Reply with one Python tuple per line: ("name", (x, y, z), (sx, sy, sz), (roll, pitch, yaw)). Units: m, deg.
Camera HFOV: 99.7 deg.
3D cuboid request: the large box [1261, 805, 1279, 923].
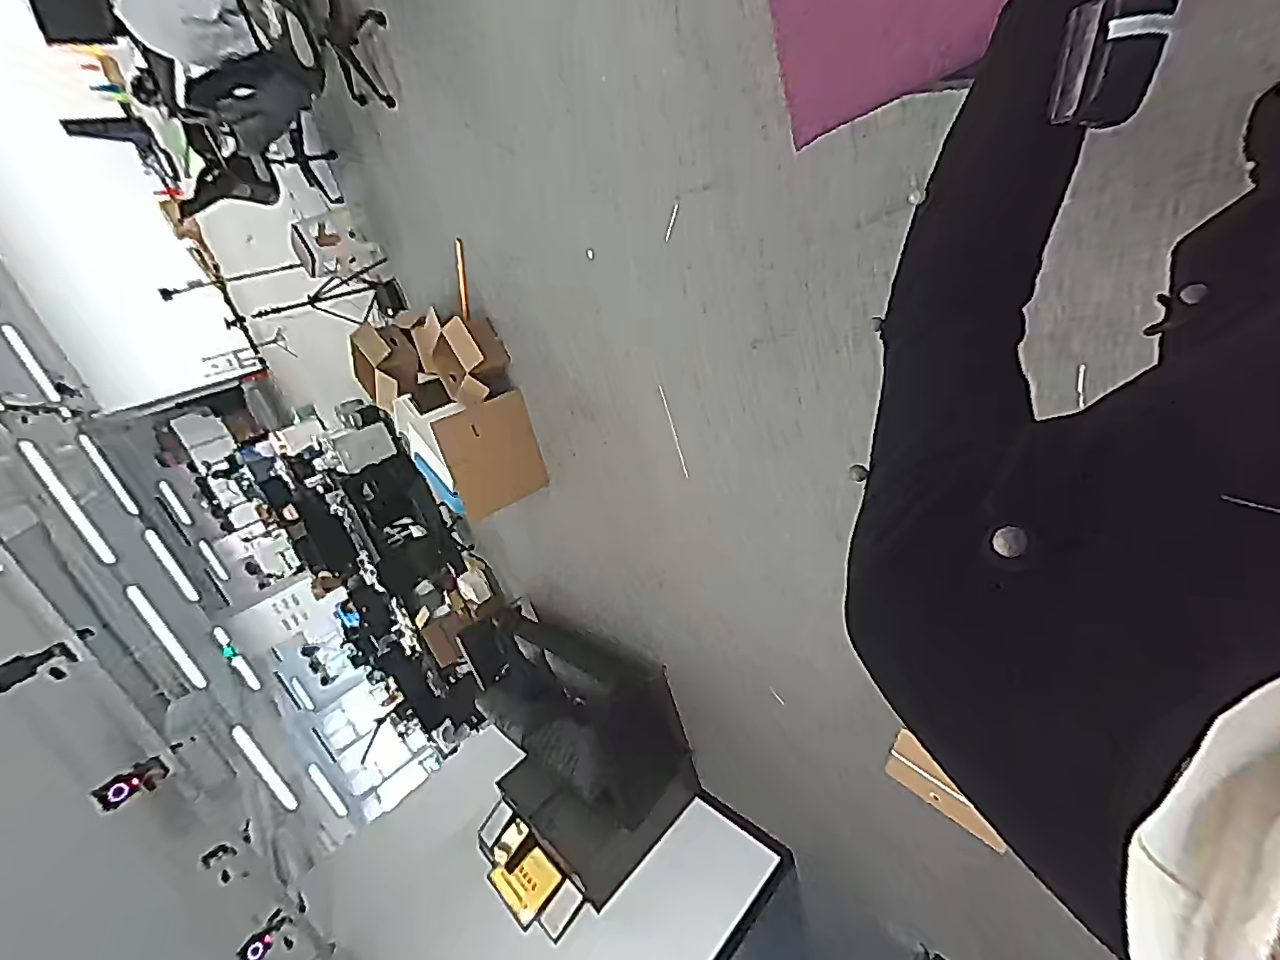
("large box", (1.725, 0.955, 1.173), (0.320, 0.320, 0.408), (53, 144, 7))
